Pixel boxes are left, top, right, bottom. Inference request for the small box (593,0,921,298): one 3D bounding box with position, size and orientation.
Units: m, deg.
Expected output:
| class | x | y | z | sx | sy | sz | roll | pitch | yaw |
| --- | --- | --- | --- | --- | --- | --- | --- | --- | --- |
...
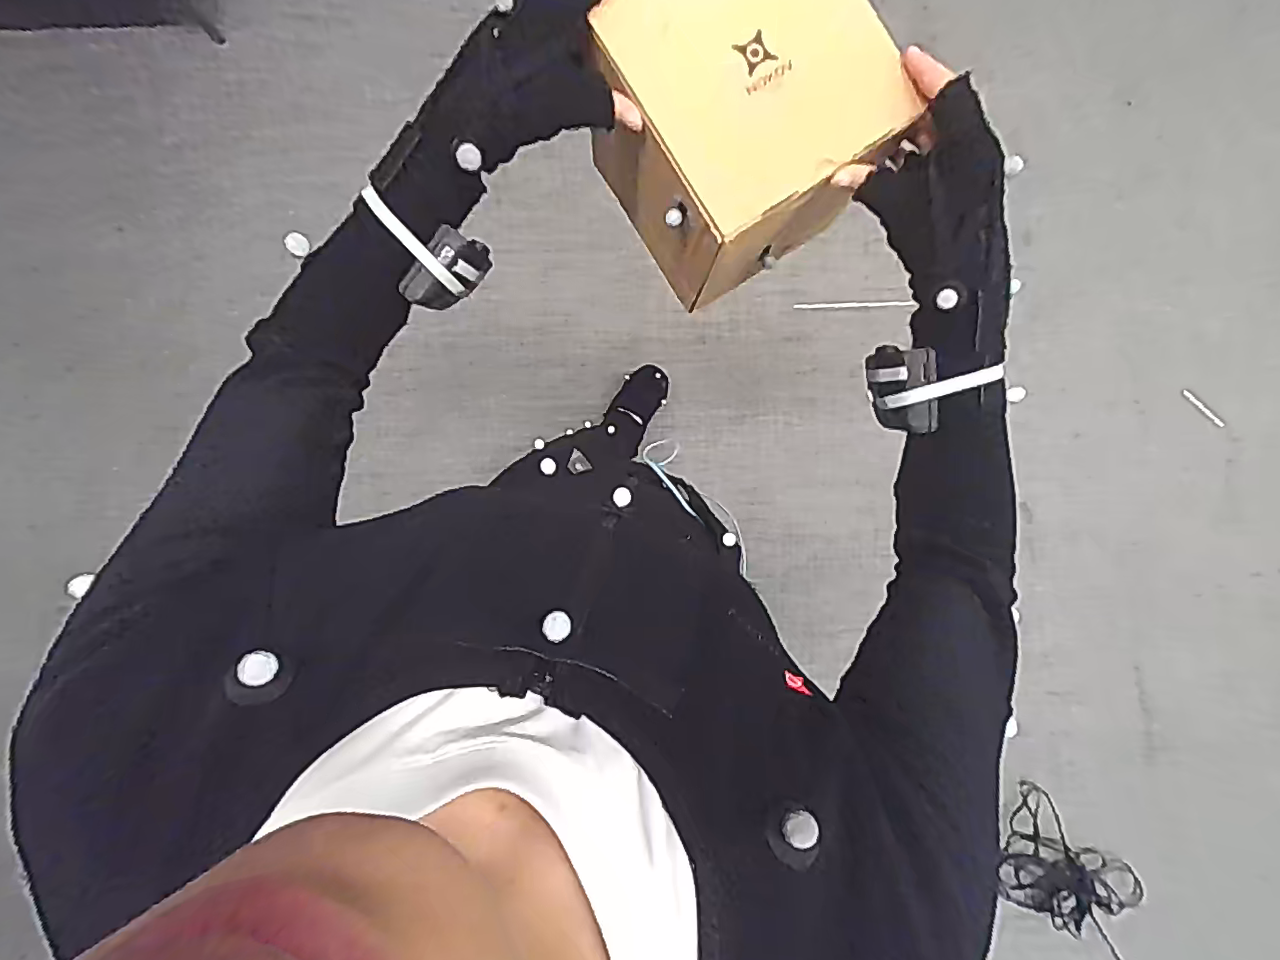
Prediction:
| class | x | y | z | sx | sy | sz | roll | pitch | yaw |
| --- | --- | --- | --- | --- | --- | --- | --- | --- | --- |
| small box | 0.075 | -0.282 | 0.441 | 0.168 | 0.176 | 0.179 | -32 | 93 | -2 |
